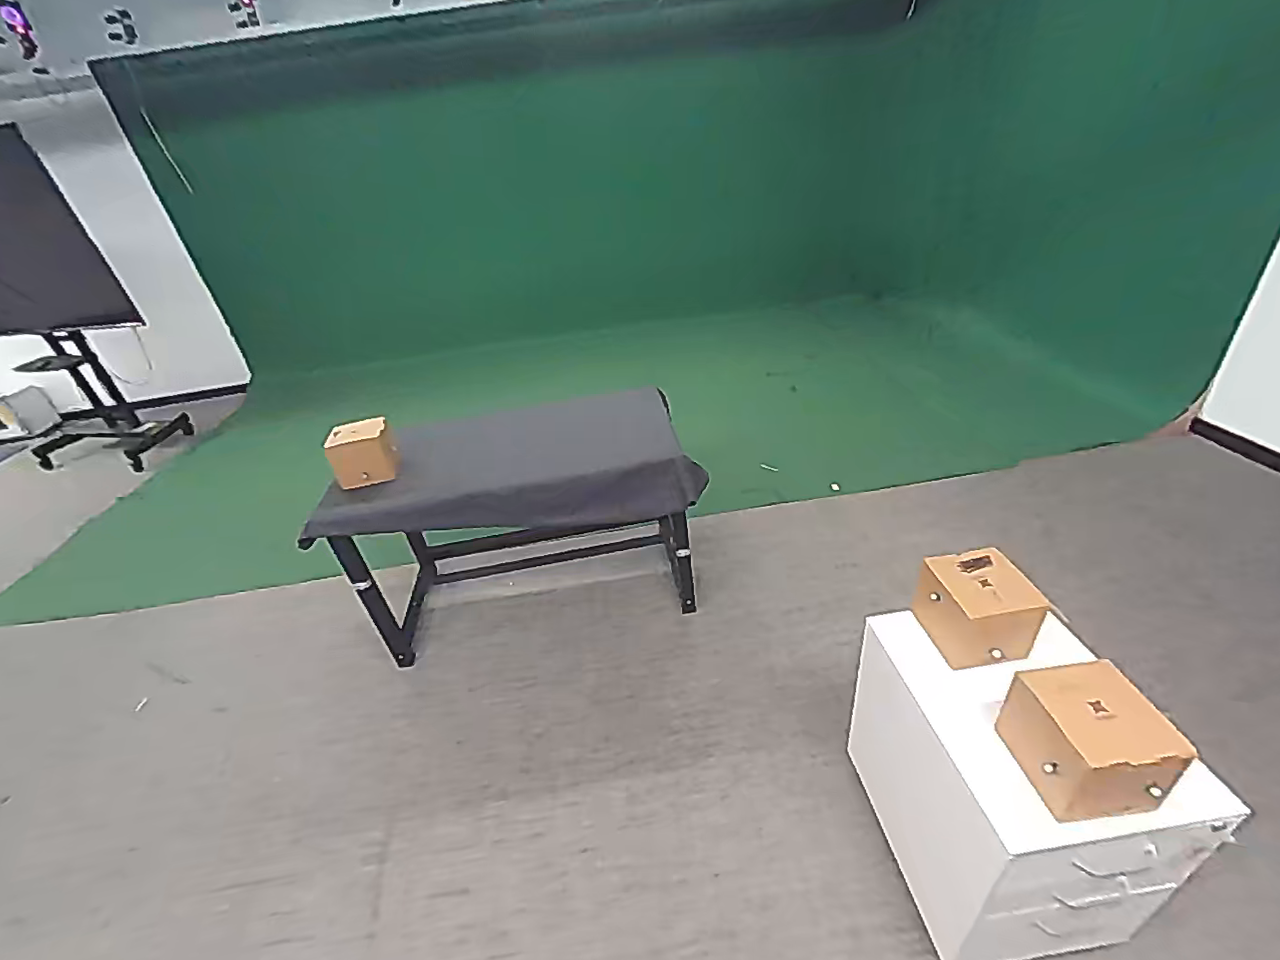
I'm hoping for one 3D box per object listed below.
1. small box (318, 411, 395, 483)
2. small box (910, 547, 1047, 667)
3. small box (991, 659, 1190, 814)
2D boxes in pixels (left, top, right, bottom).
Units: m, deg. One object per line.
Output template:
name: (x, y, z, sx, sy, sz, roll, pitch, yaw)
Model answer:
small box: (-0.952, -0.112, 1.835, 0.179, 0.176, 0.168, -12, 33, -10)
small box: (0.711, 0.272, 1.163, 0.168, 0.176, 0.179, -9, 35, -2)
small box: (0.741, 0.436, 0.914, 0.168, 0.176, 0.179, -7, 31, -1)
